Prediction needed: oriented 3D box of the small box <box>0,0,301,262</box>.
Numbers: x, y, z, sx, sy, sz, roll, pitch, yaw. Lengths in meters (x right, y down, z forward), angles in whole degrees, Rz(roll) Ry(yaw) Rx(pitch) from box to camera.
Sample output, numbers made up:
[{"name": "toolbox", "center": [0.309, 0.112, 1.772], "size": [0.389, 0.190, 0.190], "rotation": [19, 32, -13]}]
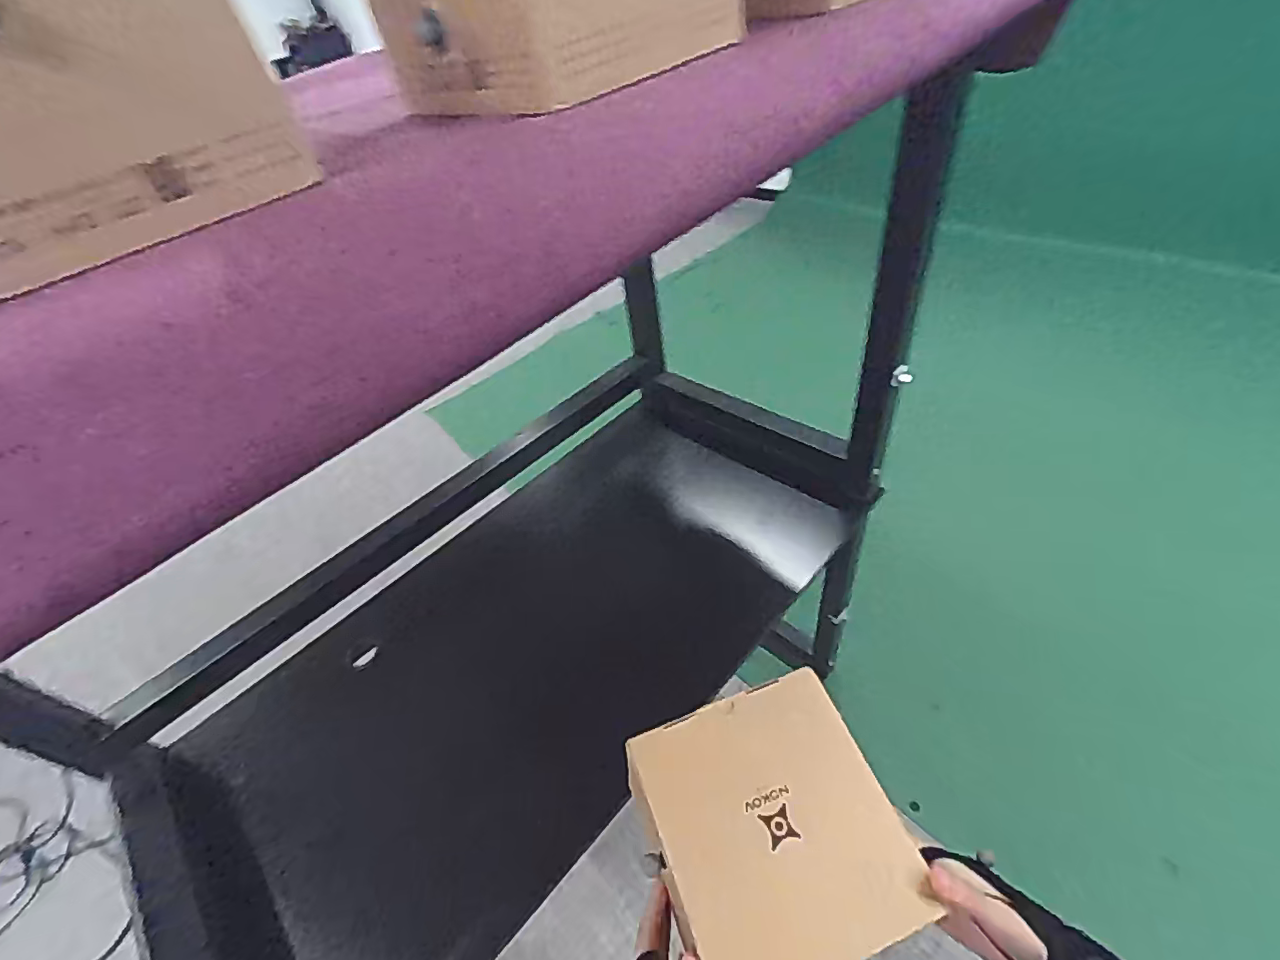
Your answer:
[{"name": "small box", "center": [-0.280, -0.191, 0.211], "size": [0.179, 0.176, 0.168], "rotation": [27, 55, 33]}]

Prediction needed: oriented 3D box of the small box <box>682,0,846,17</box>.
[{"name": "small box", "center": [0.134, -0.500, 0.436], "size": [0.179, 0.176, 0.168], "rotation": [-40, 51, -24]}]
